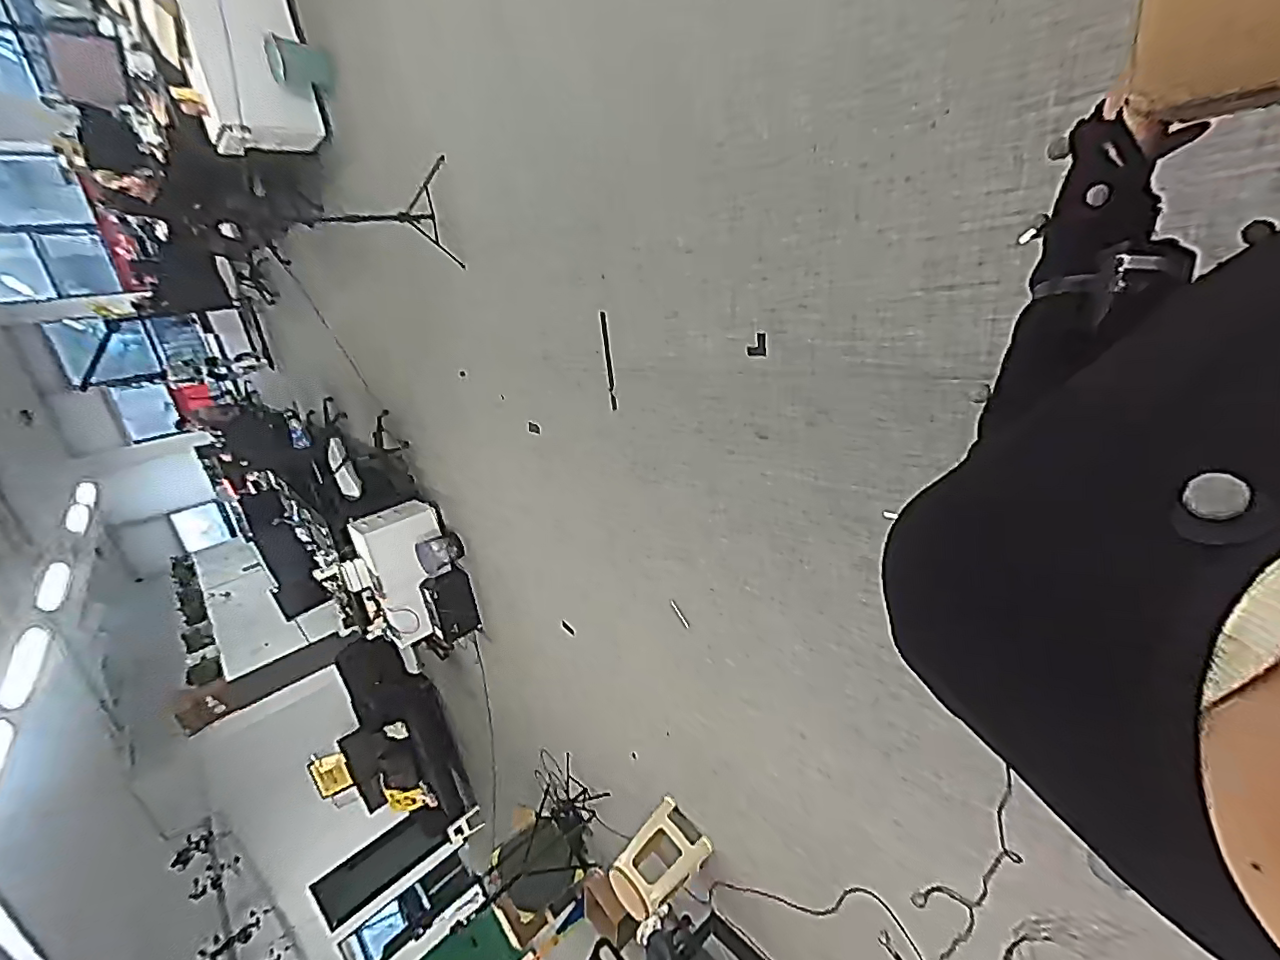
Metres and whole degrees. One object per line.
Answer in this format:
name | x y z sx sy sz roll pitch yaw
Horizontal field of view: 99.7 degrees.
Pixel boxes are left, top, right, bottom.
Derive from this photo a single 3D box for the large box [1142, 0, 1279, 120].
large box | 0.422 -0.327 0.131 0.408 0.320 0.320 11 122 42
